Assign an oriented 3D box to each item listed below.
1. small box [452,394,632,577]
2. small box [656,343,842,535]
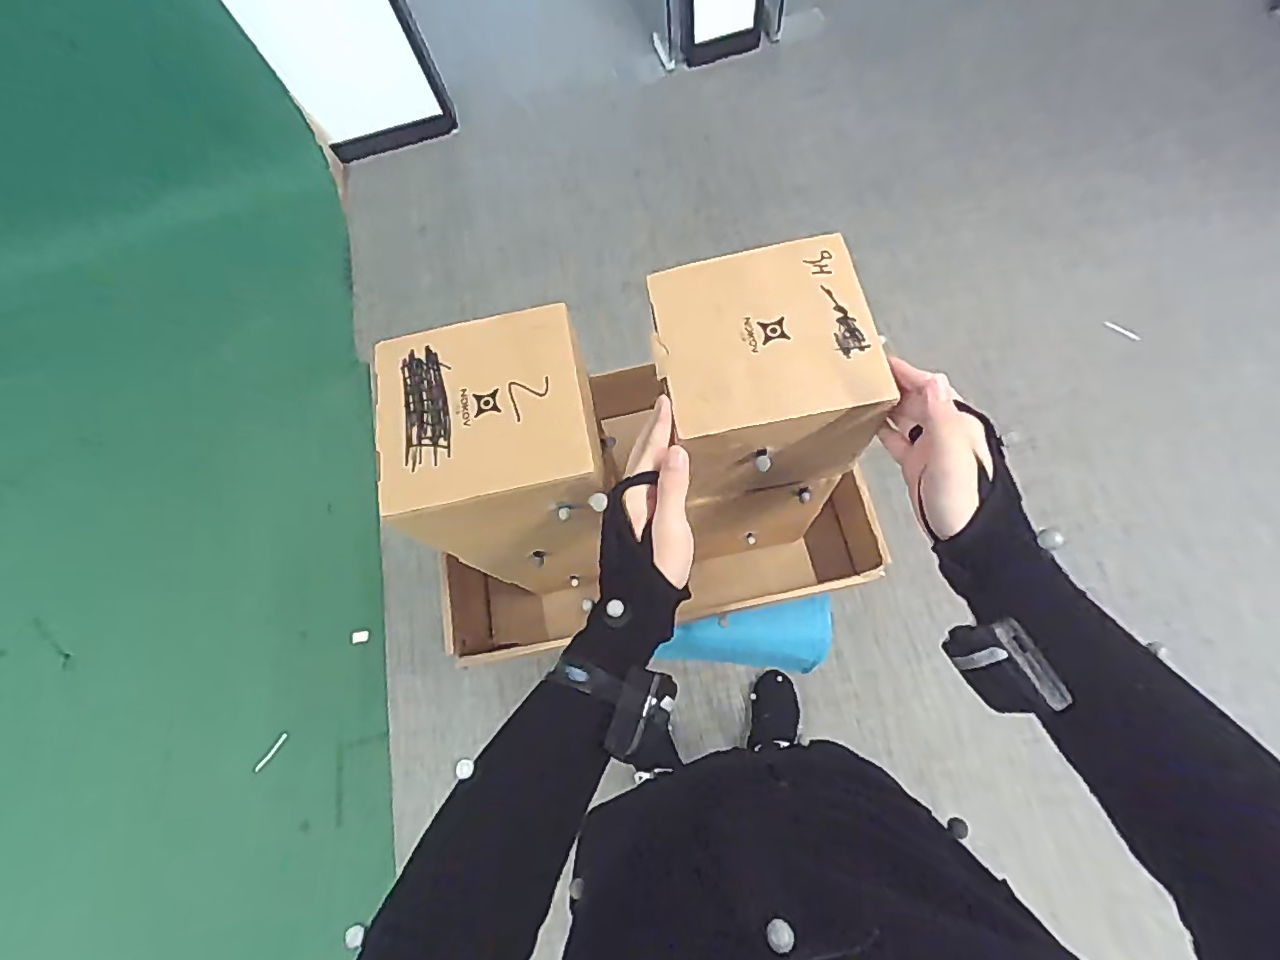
[{"bbox_3d":[-0.115,0.018,0.680,0.179,0.176,0.168,-12,71,1],"label":"small box"},{"bbox_3d":[0.128,-0.039,0.673,0.179,0.176,0.168,-12,71,4],"label":"small box"}]
